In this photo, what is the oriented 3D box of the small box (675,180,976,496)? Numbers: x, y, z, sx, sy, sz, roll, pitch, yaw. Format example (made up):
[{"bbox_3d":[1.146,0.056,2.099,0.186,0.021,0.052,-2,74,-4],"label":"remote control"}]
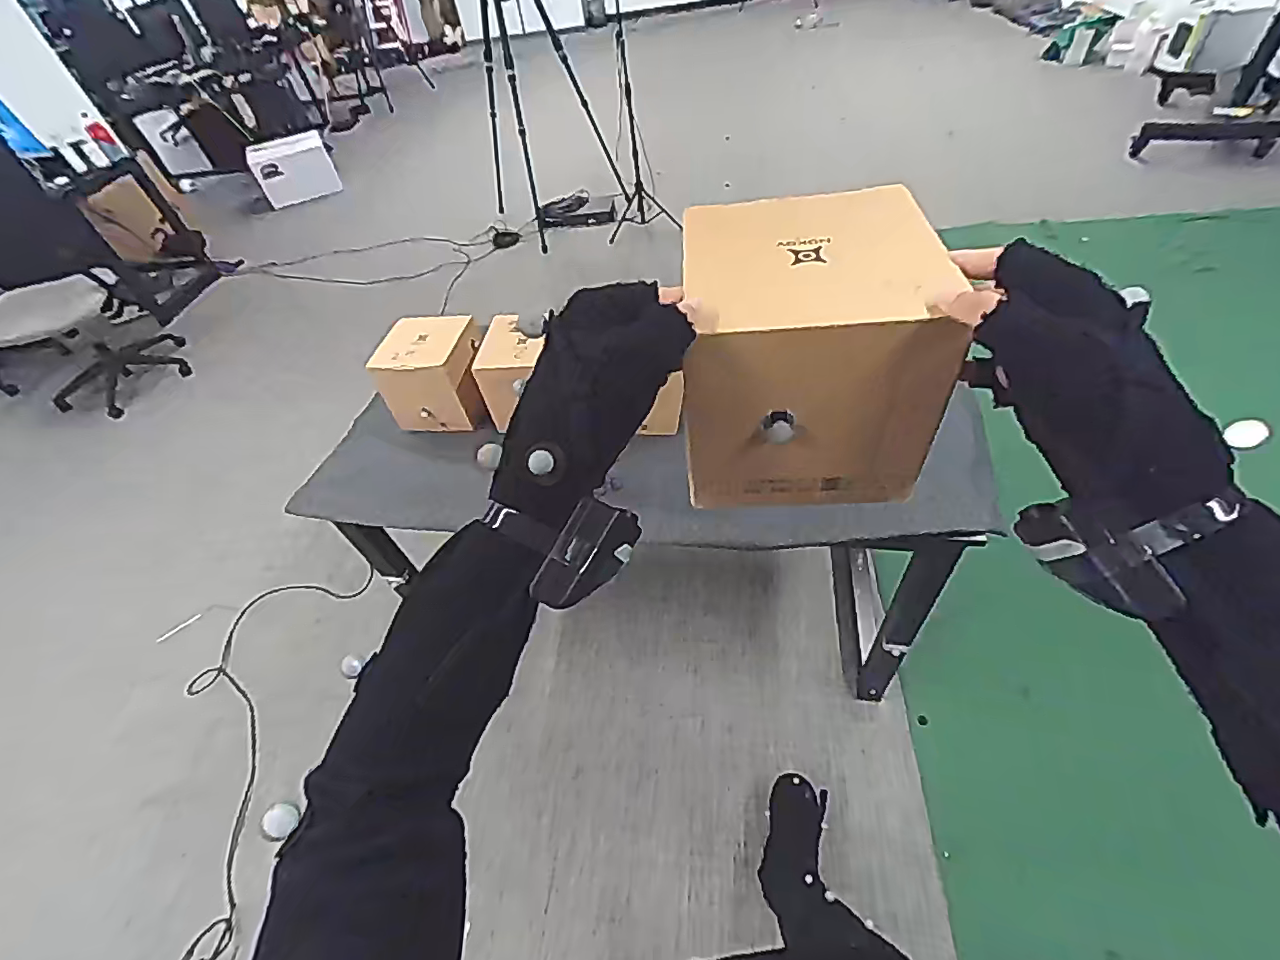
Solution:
[{"bbox_3d":[0.118,-0.099,0.413,0.168,0.176,0.179,-2,48,8],"label":"small box"}]

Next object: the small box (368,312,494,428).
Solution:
[{"bbox_3d":[-0.421,-0.230,1.128,0.168,0.176,0.179,1,49,10],"label":"small box"}]
